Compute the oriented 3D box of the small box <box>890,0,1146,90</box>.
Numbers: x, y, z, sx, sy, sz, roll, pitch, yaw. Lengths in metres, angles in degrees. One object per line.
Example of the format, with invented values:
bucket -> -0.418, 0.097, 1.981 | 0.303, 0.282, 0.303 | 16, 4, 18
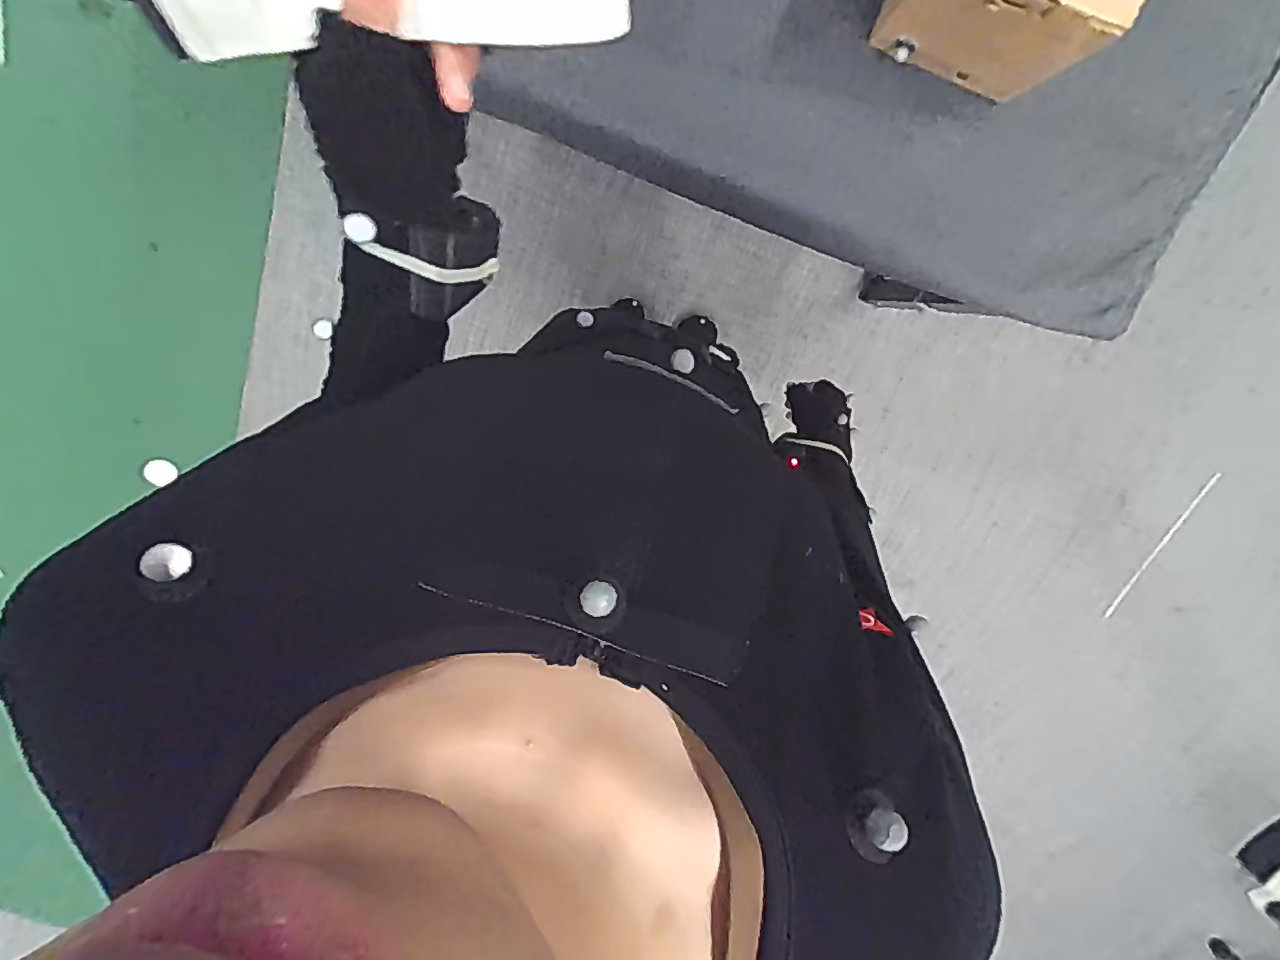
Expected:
small box -> 0.350, -0.488, 0.474 | 0.168, 0.176, 0.179 | 20, 108, -4
